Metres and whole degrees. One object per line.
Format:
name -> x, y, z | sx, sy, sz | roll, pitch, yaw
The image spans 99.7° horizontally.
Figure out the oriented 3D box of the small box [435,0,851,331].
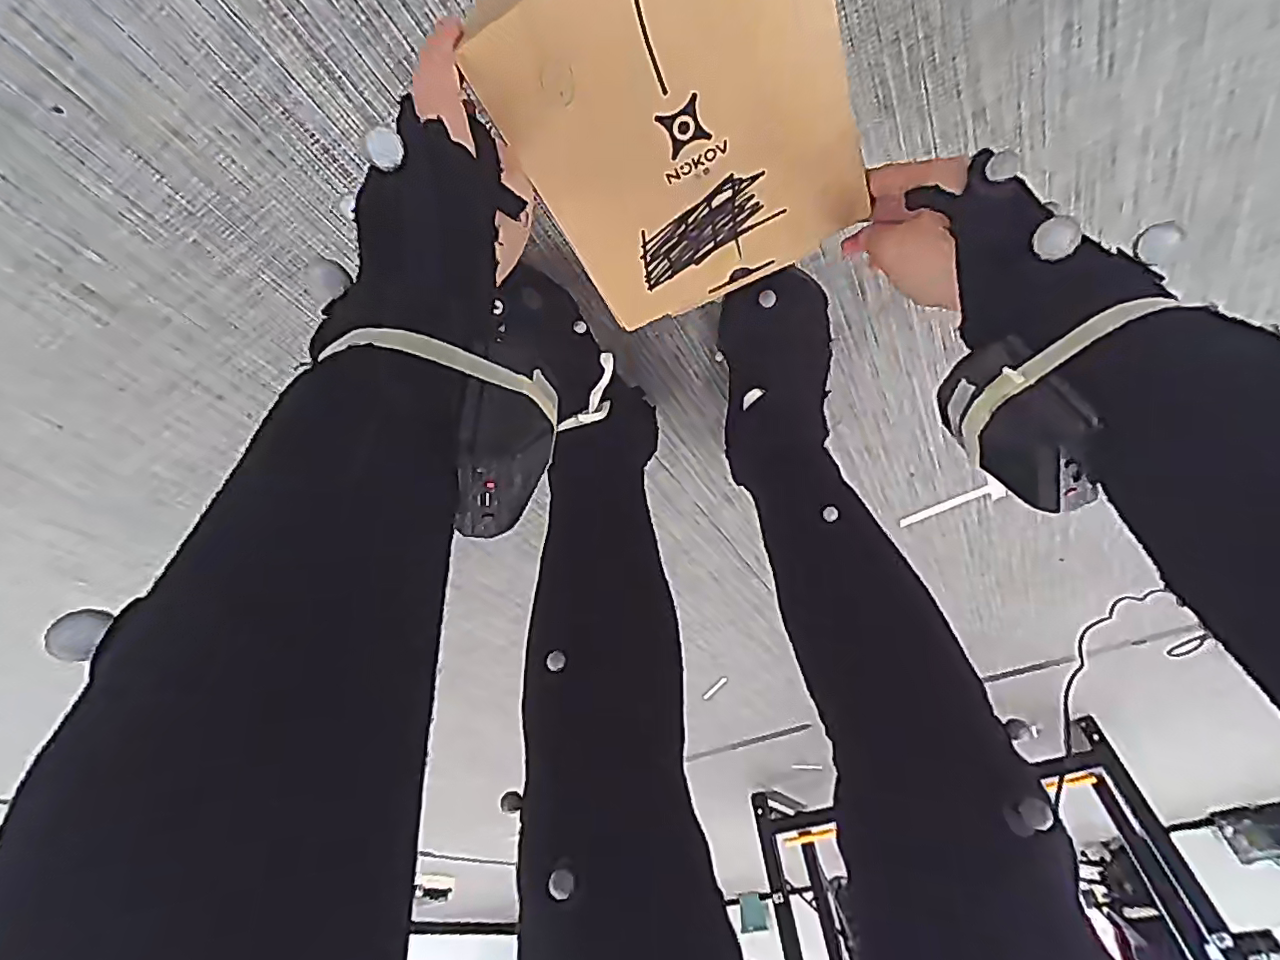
small box -> 0.010, -0.234, 0.331 | 0.168, 0.176, 0.179 | -21, 138, 17
